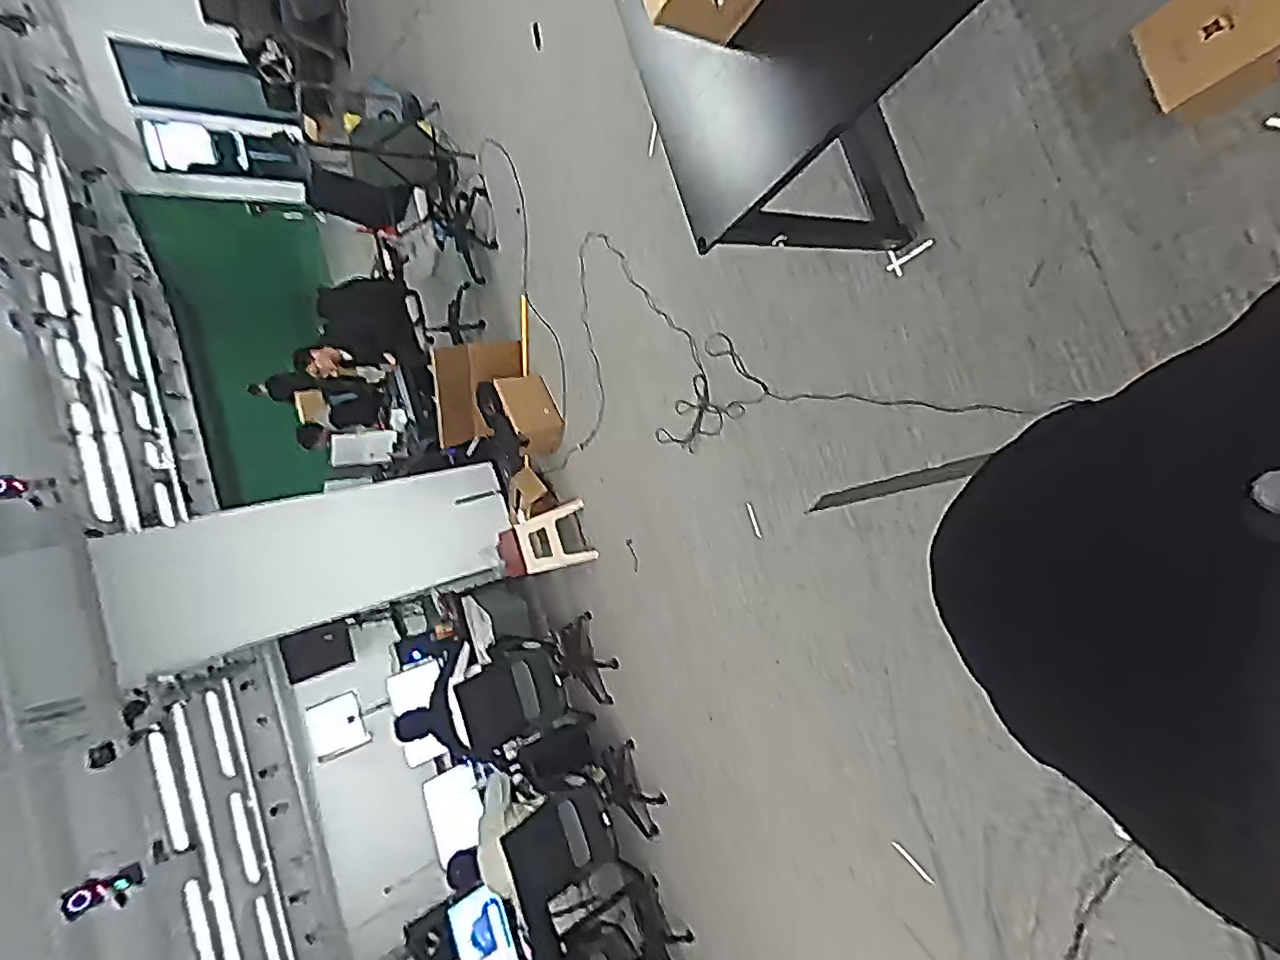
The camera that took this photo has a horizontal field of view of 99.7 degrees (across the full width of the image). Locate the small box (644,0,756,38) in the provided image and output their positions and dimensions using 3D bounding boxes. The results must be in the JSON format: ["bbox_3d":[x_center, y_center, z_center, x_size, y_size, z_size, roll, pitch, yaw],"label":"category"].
[{"bbox_3d":[0.104,-0.848,0.853,0.168,0.176,0.179,-19,86,56],"label":"small box"}]

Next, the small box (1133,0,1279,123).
[{"bbox_3d":[0.992,-0.745,0.909,0.179,0.176,0.168,-26,79,57],"label":"small box"}]
